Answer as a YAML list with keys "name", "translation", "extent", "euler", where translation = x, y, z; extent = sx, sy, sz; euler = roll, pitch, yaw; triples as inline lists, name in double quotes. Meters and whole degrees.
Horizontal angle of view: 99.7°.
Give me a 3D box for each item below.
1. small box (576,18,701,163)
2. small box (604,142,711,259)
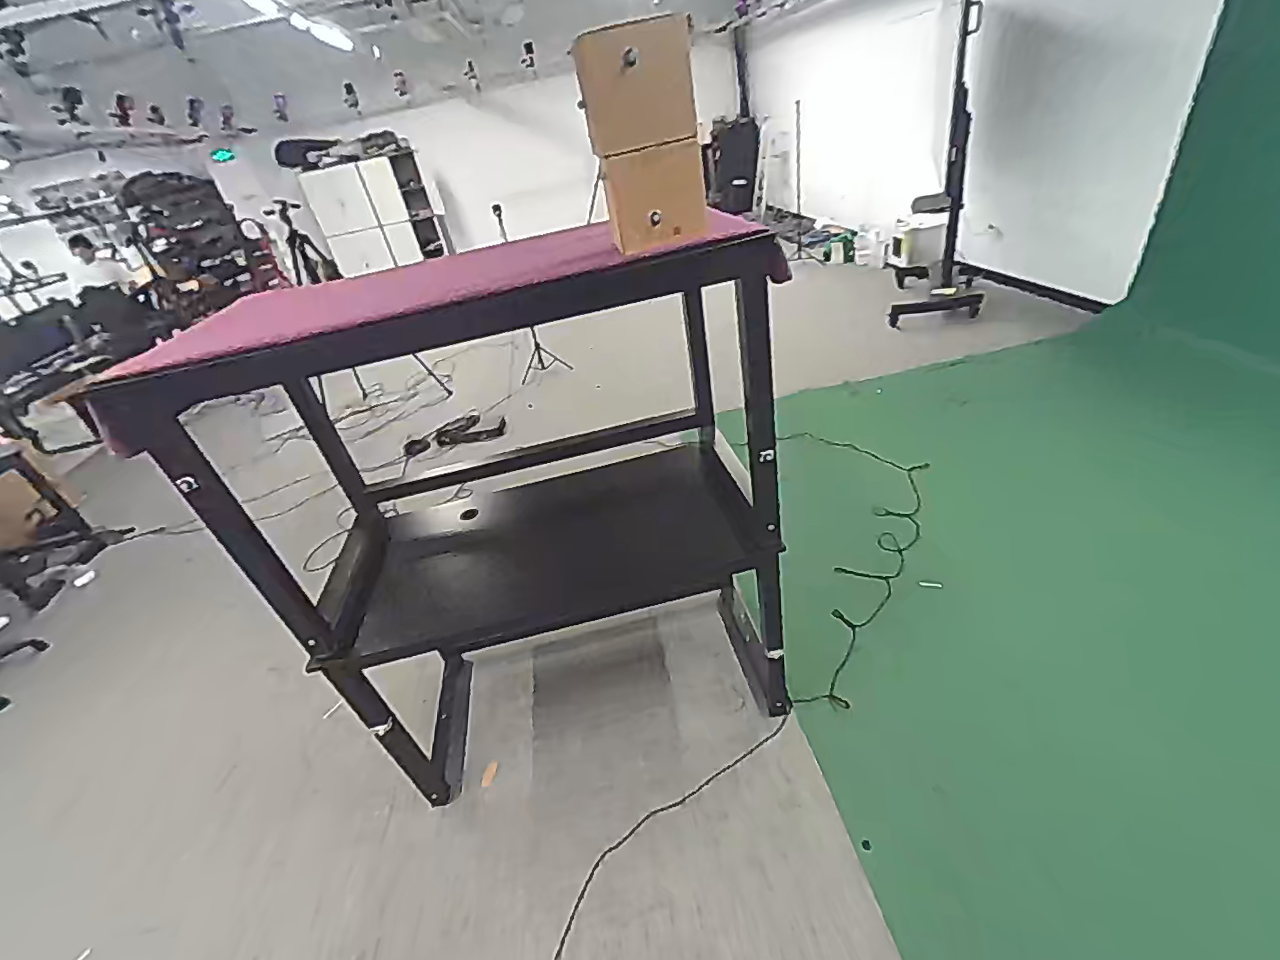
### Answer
- name: "small box"
  translation: [-0.004, -0.668, 0.946]
  extent: [0.179, 0.176, 0.168]
  euler: [-14, 34, -1]
- name: "small box"
  translation: [0.032, -0.539, 1.042]
  extent: [0.168, 0.176, 0.179]
  euler: [-14, 34, -1]
